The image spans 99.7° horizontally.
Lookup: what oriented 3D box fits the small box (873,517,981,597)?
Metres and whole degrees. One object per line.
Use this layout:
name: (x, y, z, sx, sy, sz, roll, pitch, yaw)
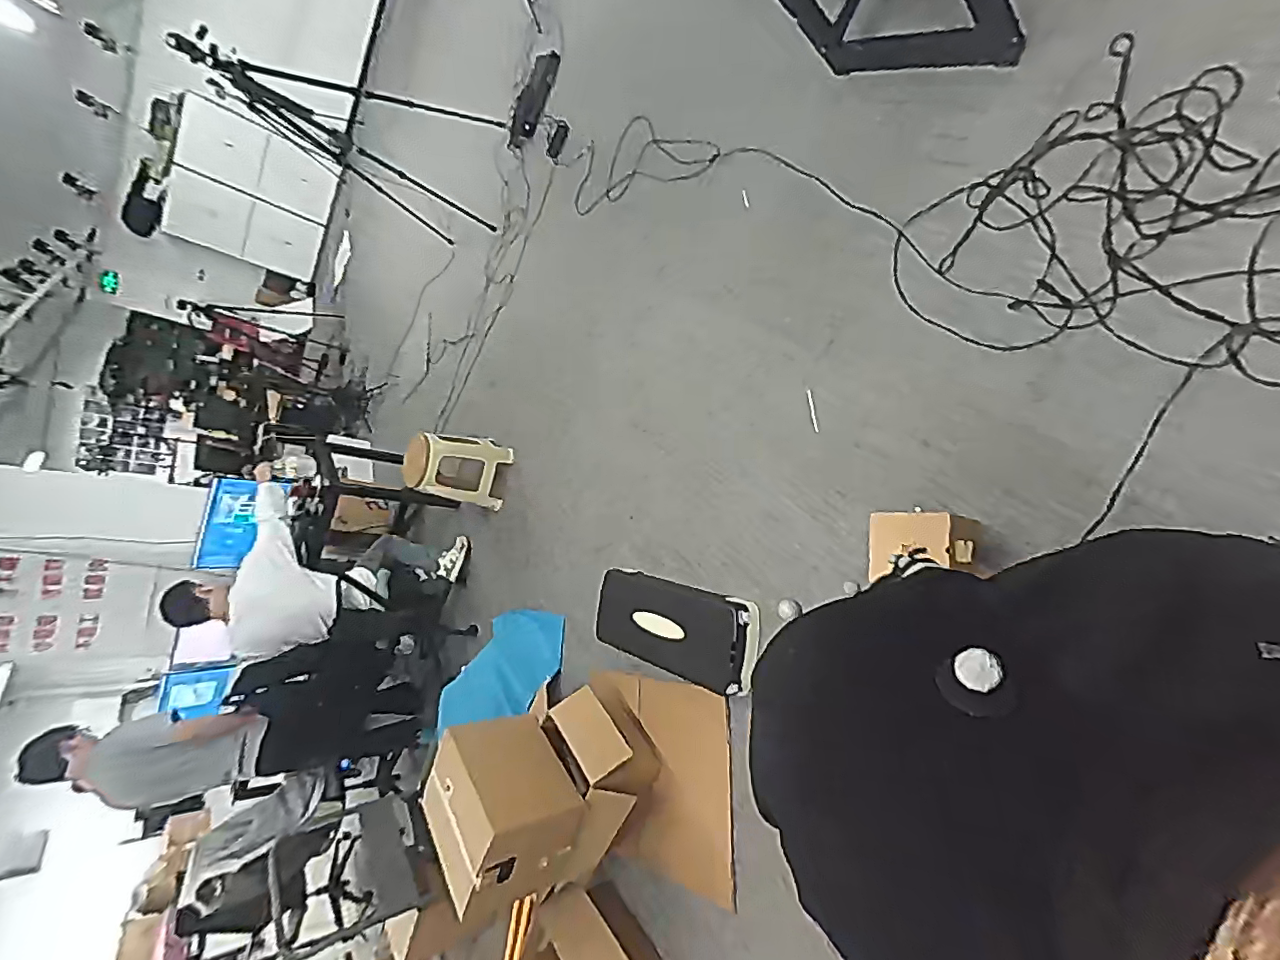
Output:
small box: (0.662, 0.177, 1.247, 0.179, 0.176, 0.168, -5, 77, 46)
